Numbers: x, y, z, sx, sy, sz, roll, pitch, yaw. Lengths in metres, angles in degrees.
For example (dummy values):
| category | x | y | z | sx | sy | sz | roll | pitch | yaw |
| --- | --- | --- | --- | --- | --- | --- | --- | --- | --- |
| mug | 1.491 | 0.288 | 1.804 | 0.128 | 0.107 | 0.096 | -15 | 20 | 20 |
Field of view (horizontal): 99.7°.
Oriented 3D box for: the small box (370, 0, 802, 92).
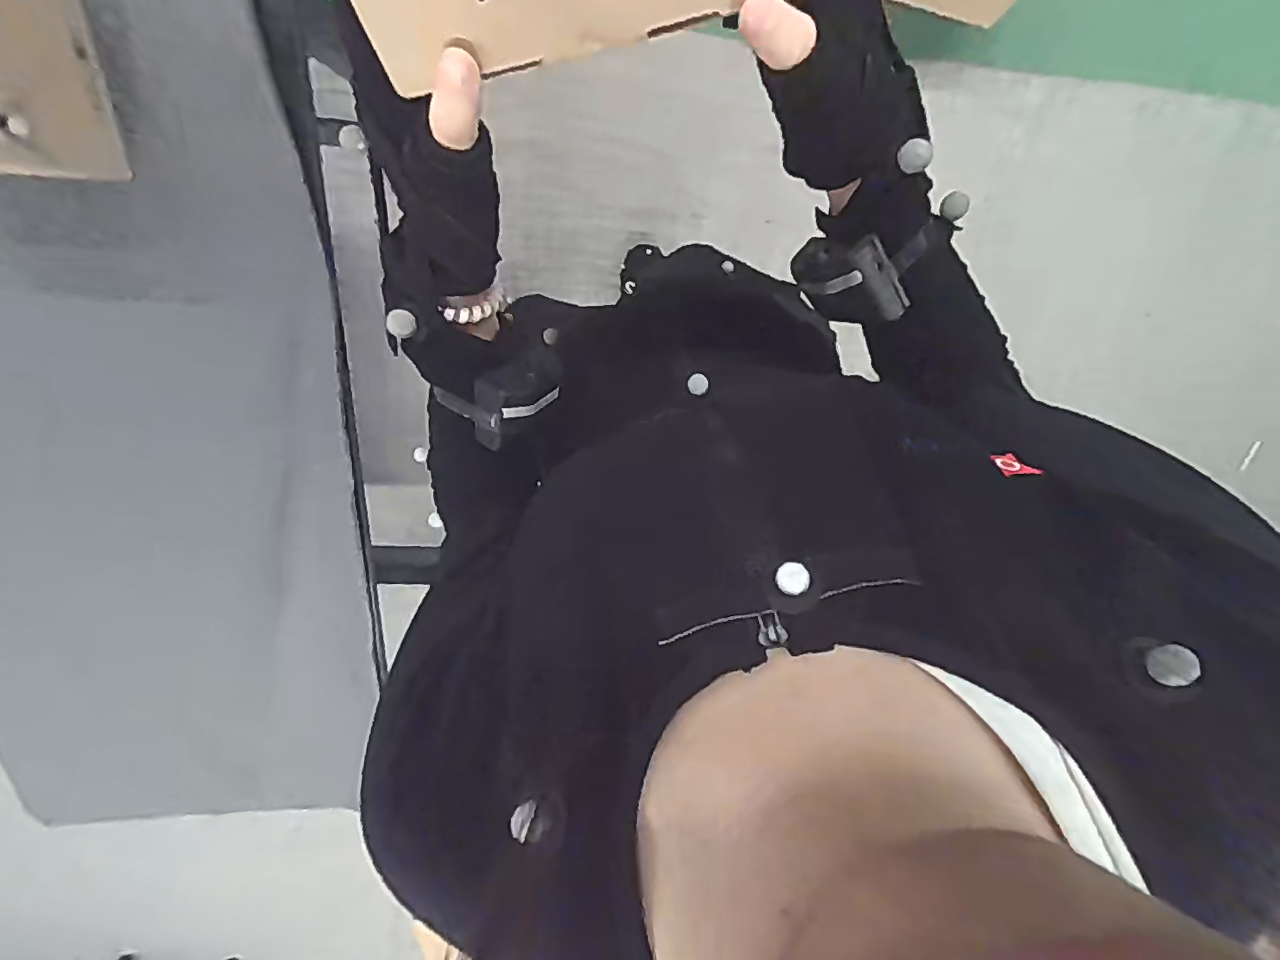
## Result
| category | x | y | z | sx | sy | sz | roll | pitch | yaw |
| --- | --- | --- | --- | --- | --- | --- | --- | --- | --- |
| small box | -0.037 | -0.284 | 0.187 | 0.168 | 0.176 | 0.179 | -11 | 148 | 4 |
